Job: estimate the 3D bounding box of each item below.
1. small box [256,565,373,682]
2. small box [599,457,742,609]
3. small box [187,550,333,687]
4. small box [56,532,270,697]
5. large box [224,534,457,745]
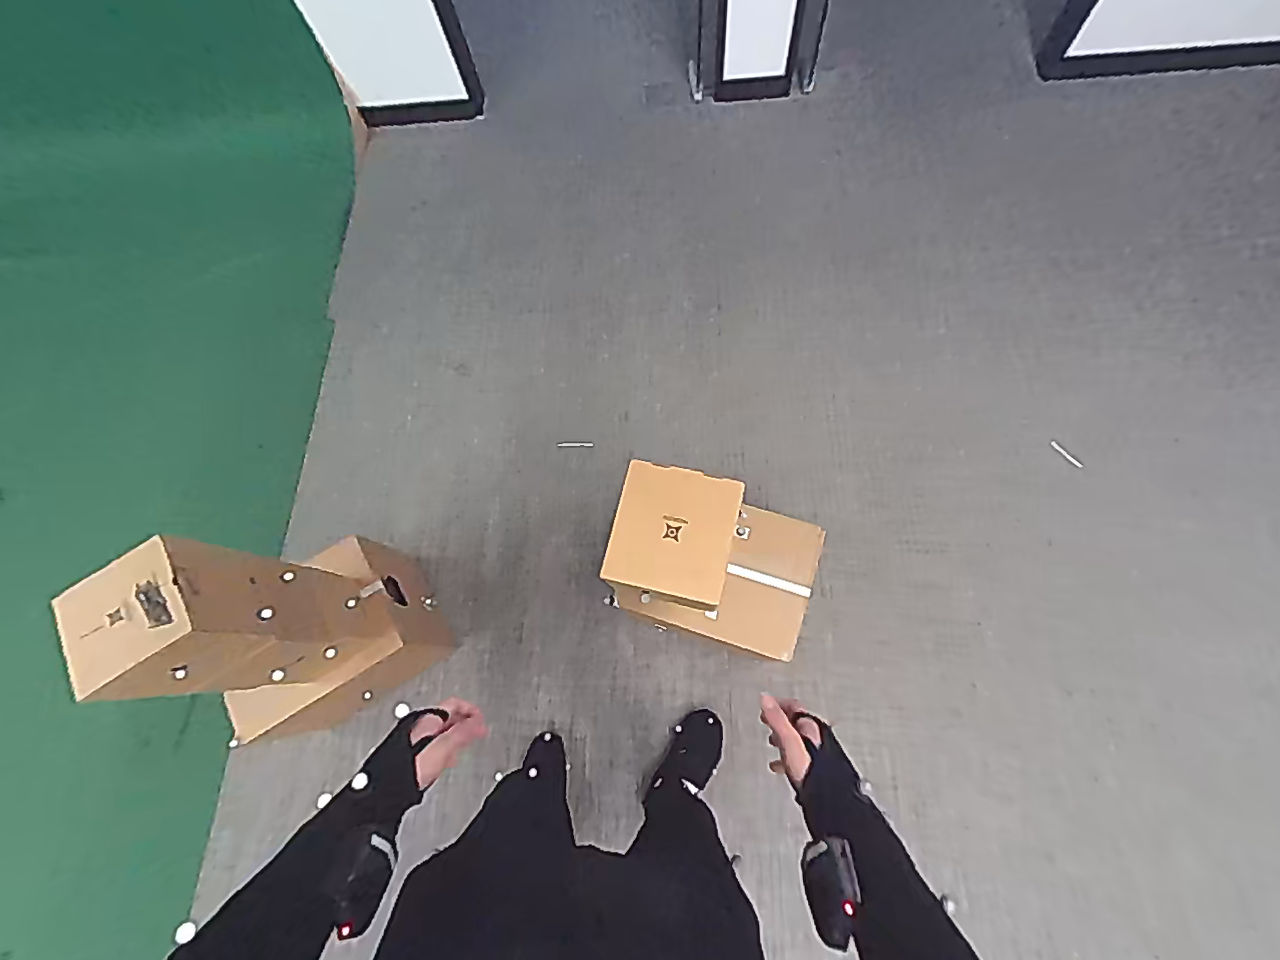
[{"bbox_3d":[-0.698,0.303,1.143,0.179,0.176,0.168,-32,71,-6],"label":"small box"},{"bbox_3d":[0.051,0.087,0.810,0.168,0.176,0.179,12,73,9],"label":"small box"},{"bbox_3d":[-0.706,0.256,0.988,0.168,0.176,0.179,-31,72,-5],"label":"small box"},{"bbox_3d":[-0.714,0.206,0.832,0.179,0.176,0.168,-33,72,-5],"label":"small box"},{"bbox_3d":[-0.756,0.397,1.377,0.408,0.320,0.320,-32,70,-6],"label":"large box"}]
